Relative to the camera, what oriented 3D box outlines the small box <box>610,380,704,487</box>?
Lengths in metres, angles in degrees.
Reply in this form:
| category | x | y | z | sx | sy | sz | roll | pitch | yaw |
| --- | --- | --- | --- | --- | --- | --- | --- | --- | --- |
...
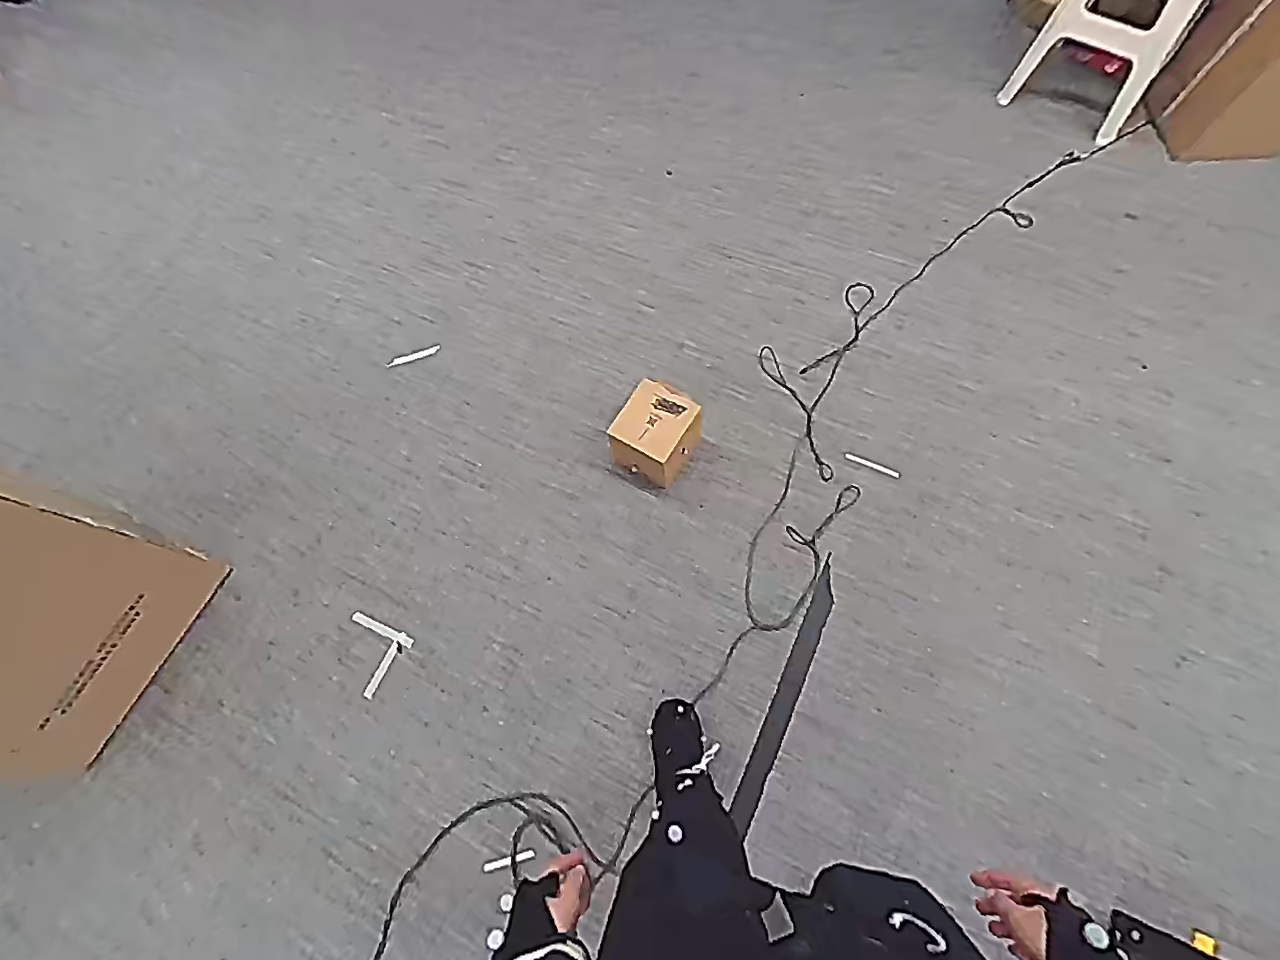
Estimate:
| category | x | y | z | sx | sy | sz | roll | pitch | yaw |
| --- | --- | --- | --- | --- | --- | --- | --- | --- | --- |
| small box | 0.045 | -0.112 | 1.358 | 0.168 | 0.176 | 0.179 | 30 | 74 | 16 |
